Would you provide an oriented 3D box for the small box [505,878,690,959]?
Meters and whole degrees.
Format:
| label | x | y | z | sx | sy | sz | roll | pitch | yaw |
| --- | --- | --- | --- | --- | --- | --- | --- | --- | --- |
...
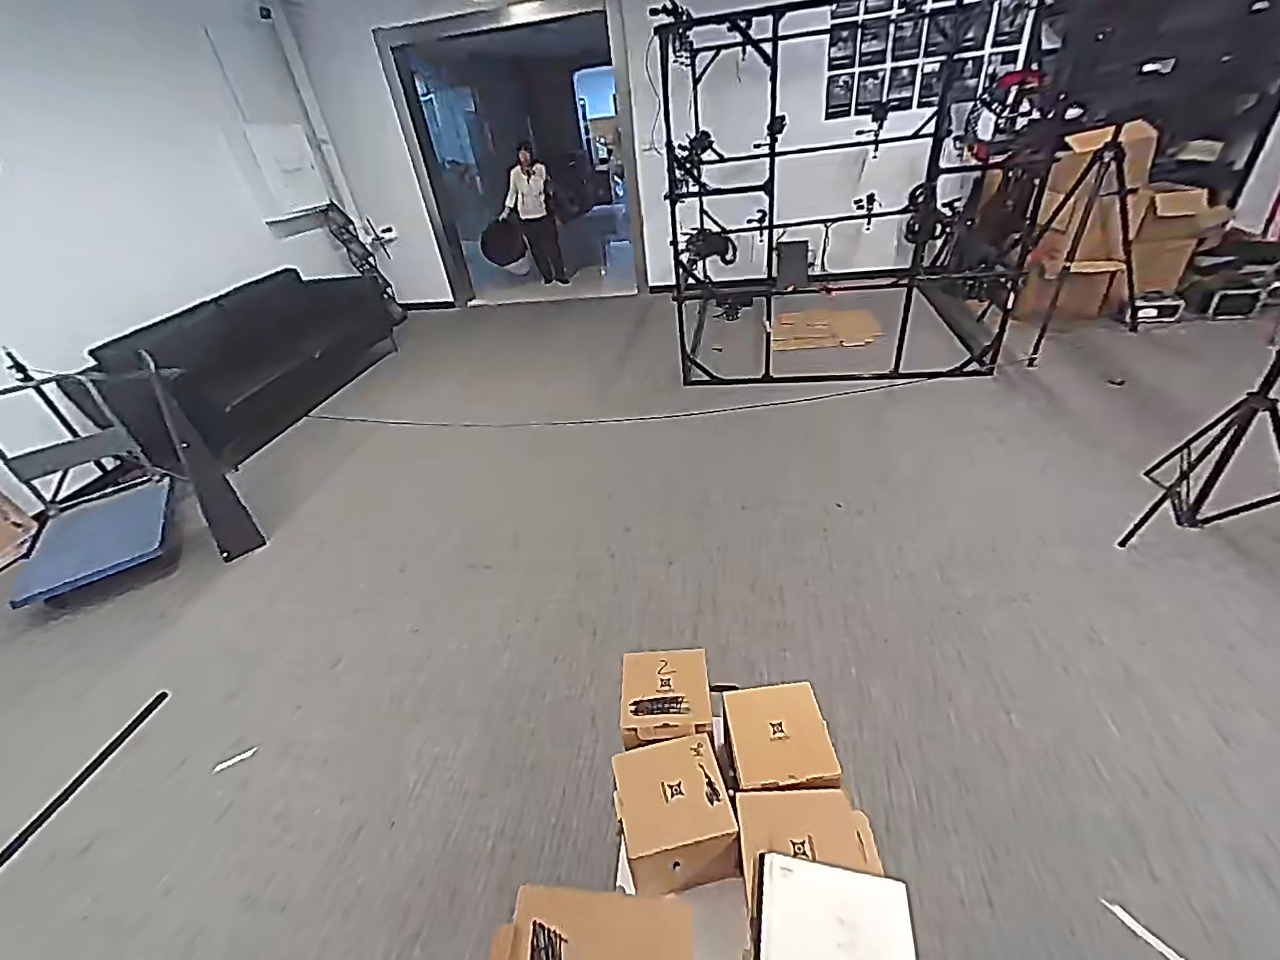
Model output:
| label | x | y | z | sx | sy | sz | roll | pitch | yaw |
| --- | --- | --- | --- | --- | --- | --- | --- | --- | --- |
| small box | -0.040 | 0.528 | 0.549 | 0.179 | 0.176 | 0.168 | 1 | 45 | 6 |
